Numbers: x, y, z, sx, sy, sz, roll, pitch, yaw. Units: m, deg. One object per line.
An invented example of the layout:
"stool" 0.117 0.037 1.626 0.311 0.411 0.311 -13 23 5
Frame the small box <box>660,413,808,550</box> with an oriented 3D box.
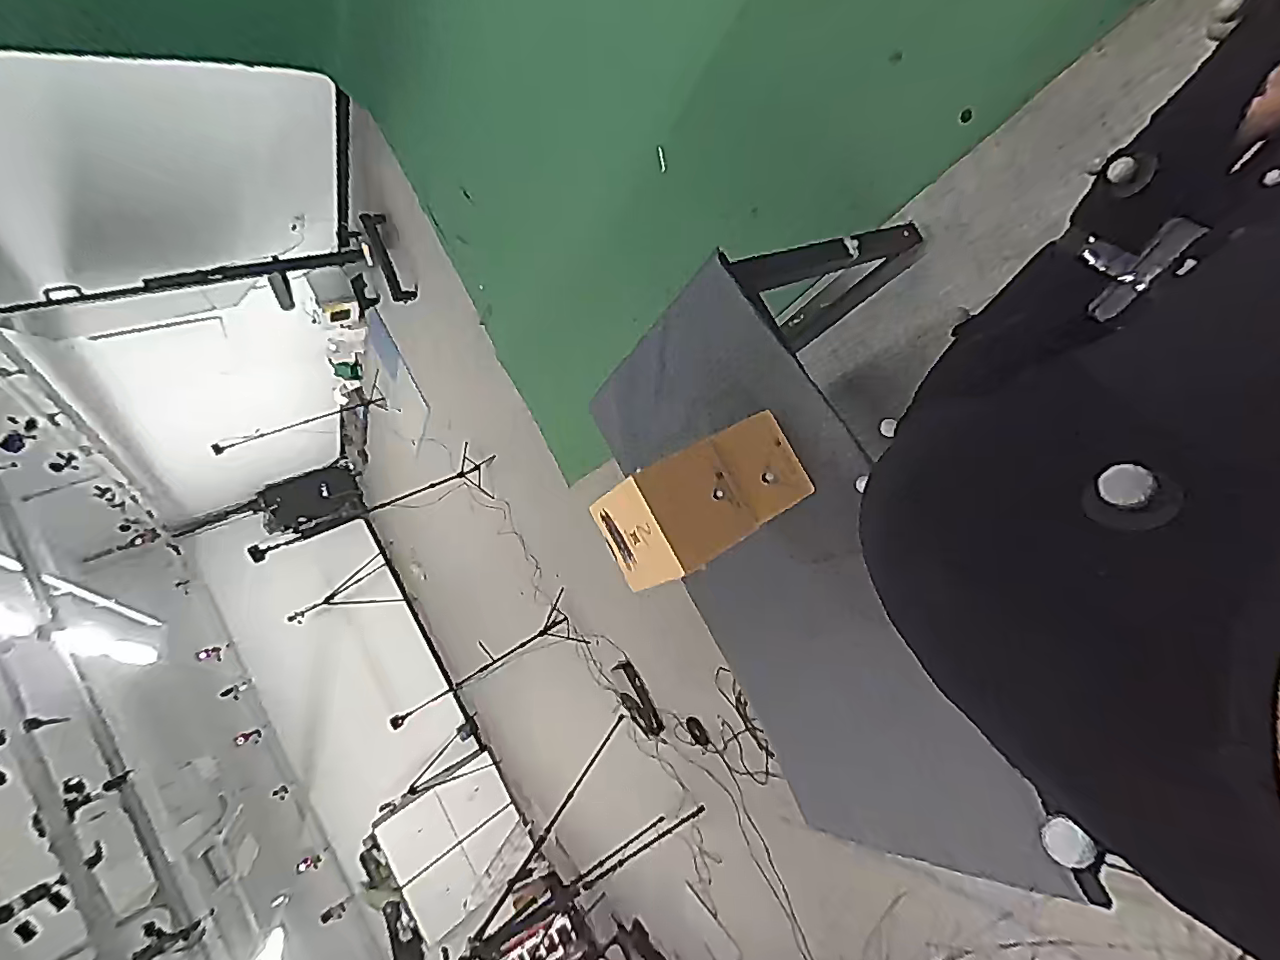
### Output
"small box" 0.175 0.002 0.975 0.168 0.176 0.179 60 147 4
